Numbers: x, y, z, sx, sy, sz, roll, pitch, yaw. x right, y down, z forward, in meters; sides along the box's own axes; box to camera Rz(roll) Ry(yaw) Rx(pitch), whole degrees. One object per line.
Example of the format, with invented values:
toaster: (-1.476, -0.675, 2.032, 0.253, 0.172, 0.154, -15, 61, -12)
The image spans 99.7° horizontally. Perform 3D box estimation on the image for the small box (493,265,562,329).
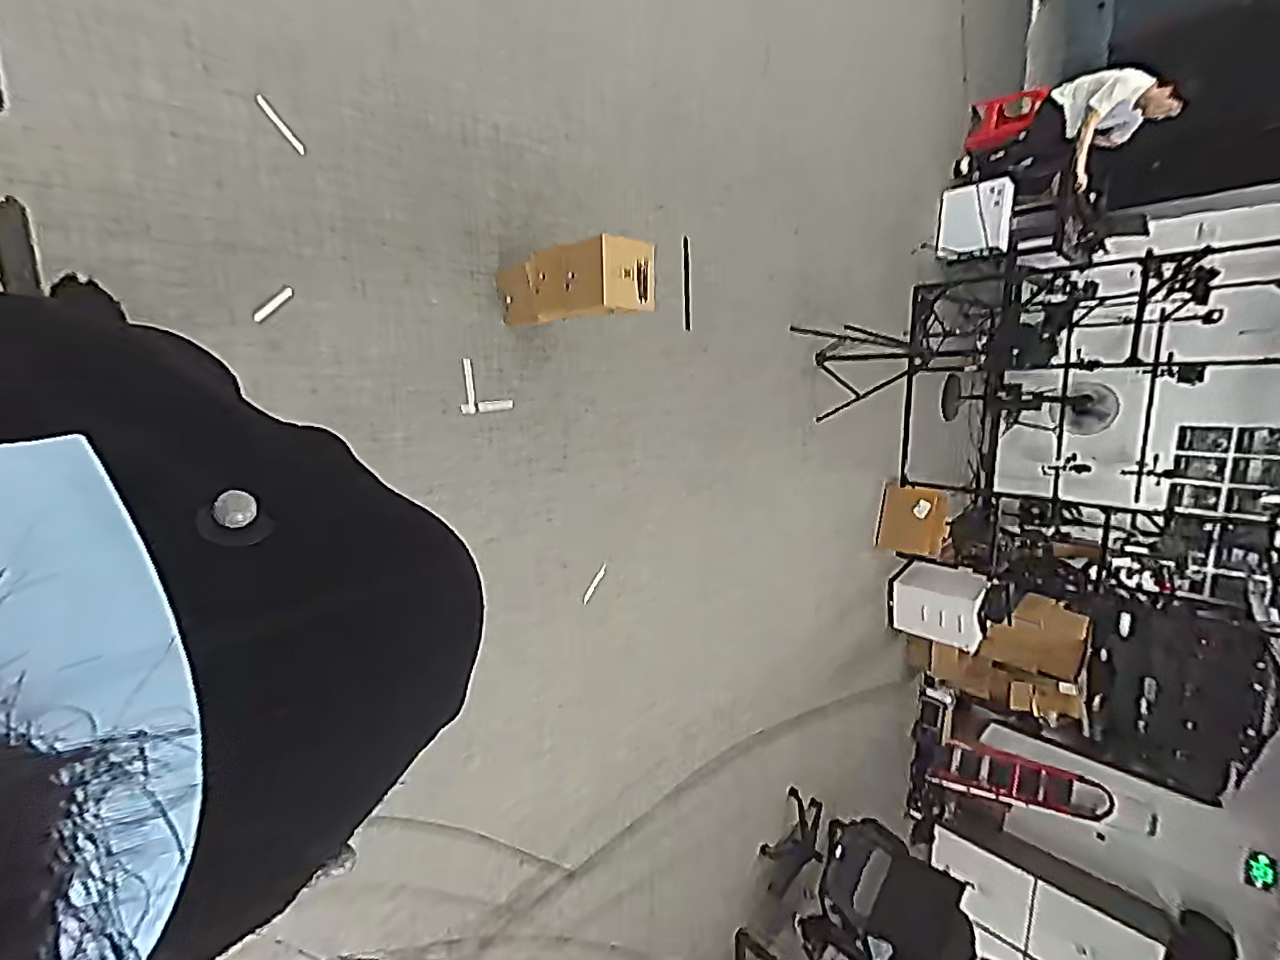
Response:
small box: (-0.315, -0.559, 1.640, 0.179, 0.176, 0.168, -26, 114, -40)

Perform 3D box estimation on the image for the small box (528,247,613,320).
small box: (-0.196, -0.548, 1.529, 0.179, 0.176, 0.168, -11, 104, -43)
